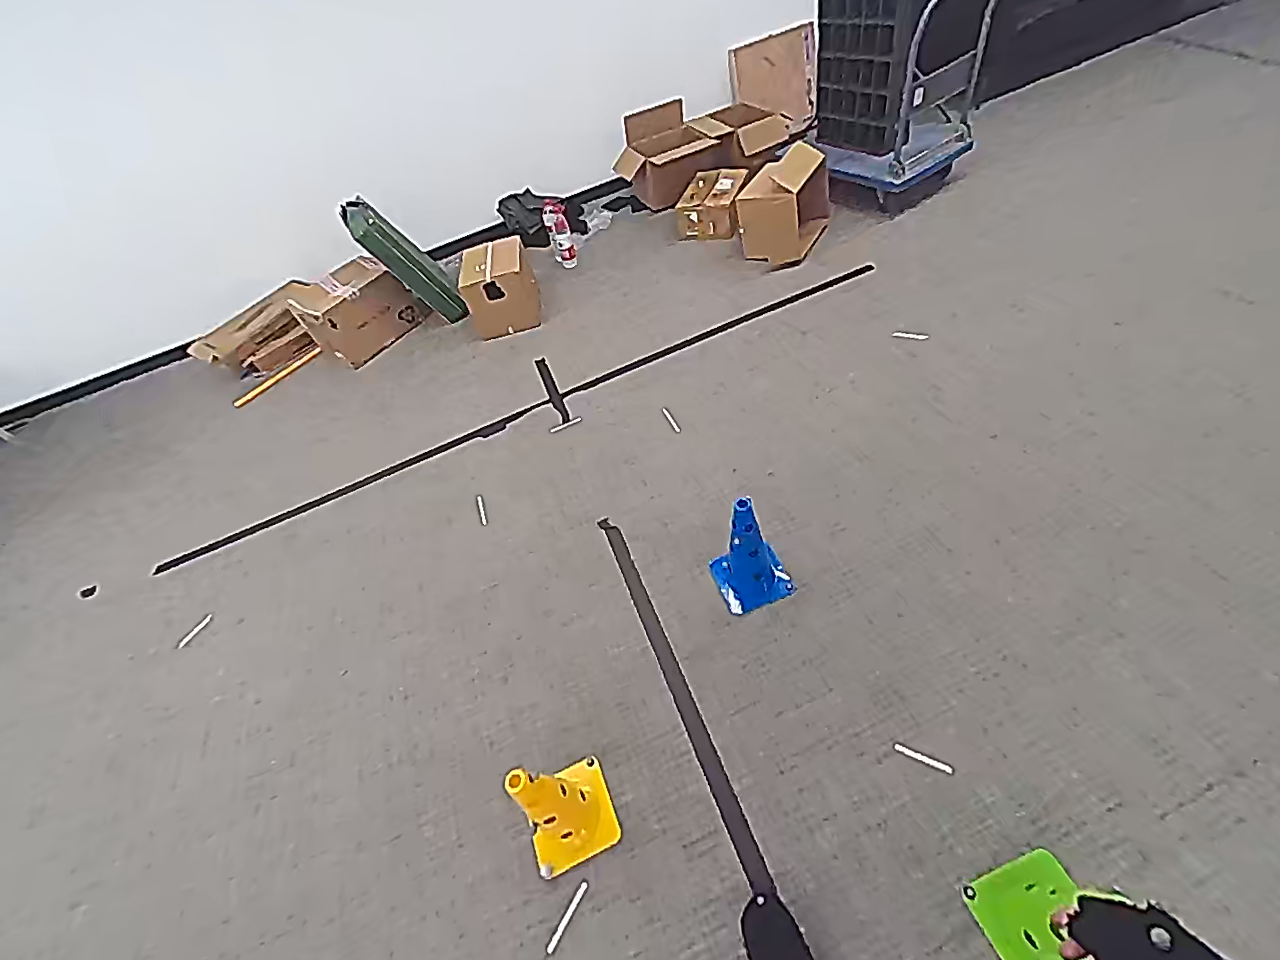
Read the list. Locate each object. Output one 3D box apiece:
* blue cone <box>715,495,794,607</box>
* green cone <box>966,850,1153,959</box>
[{"bbox_3d":[0.302,0.174,1.490,0.192,0.380,0.193,-20,47,-3],"label":"blue cone"},{"bbox_3d":[0.714,0.715,0.872,0.202,0.368,0.200,-23,47,-6],"label":"green cone"}]
